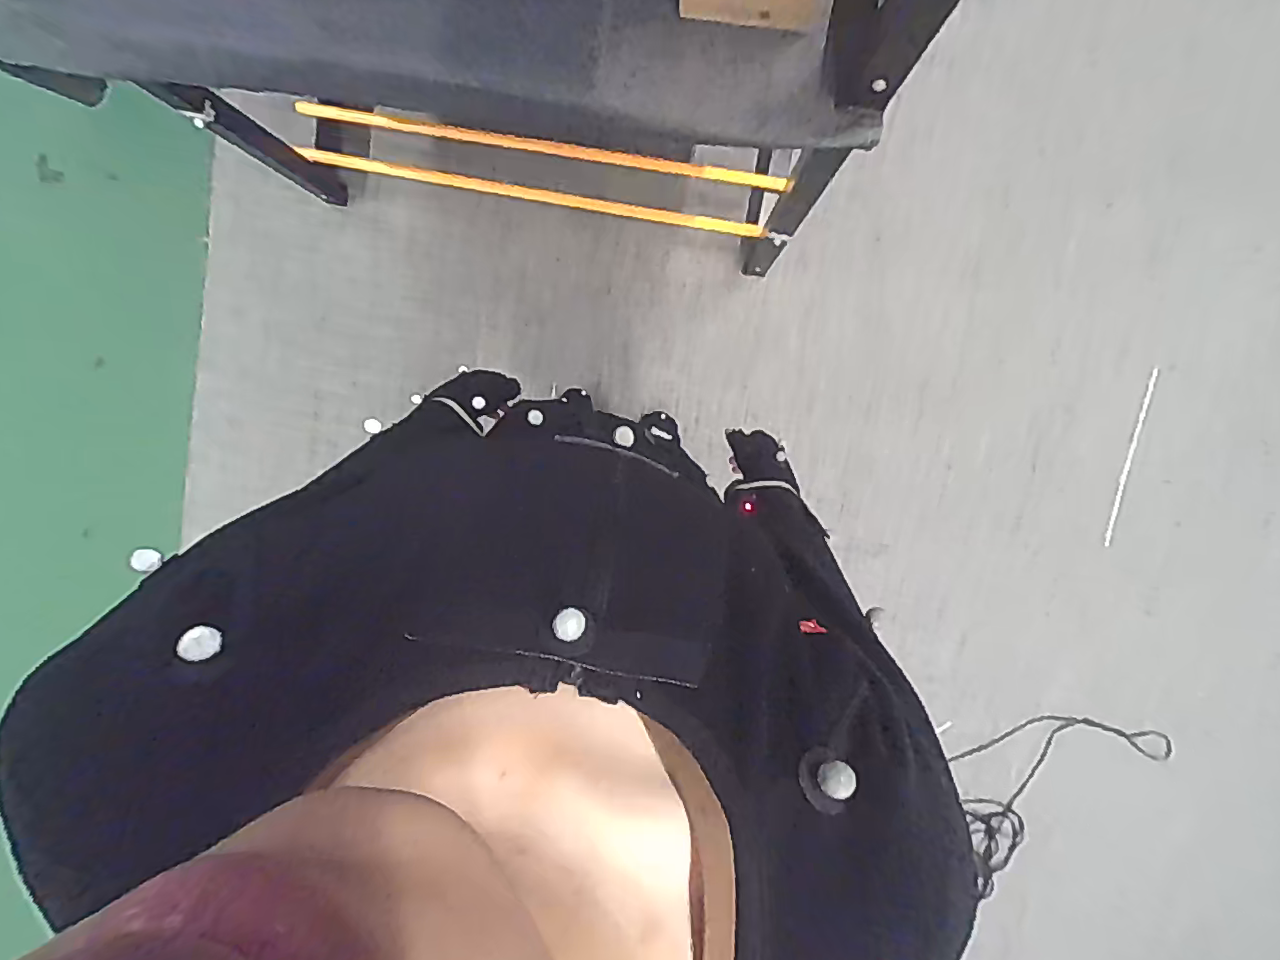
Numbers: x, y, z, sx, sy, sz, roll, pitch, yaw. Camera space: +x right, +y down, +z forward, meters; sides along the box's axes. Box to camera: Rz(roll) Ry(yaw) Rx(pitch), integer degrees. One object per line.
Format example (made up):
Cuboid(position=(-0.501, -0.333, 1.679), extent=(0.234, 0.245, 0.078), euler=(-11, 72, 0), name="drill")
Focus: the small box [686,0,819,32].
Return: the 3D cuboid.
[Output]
Cuboid(position=(0.138, -0.640, 0.586), extent=(0.168, 0.176, 0.179), euler=(9, 96, 1), name="small box")
